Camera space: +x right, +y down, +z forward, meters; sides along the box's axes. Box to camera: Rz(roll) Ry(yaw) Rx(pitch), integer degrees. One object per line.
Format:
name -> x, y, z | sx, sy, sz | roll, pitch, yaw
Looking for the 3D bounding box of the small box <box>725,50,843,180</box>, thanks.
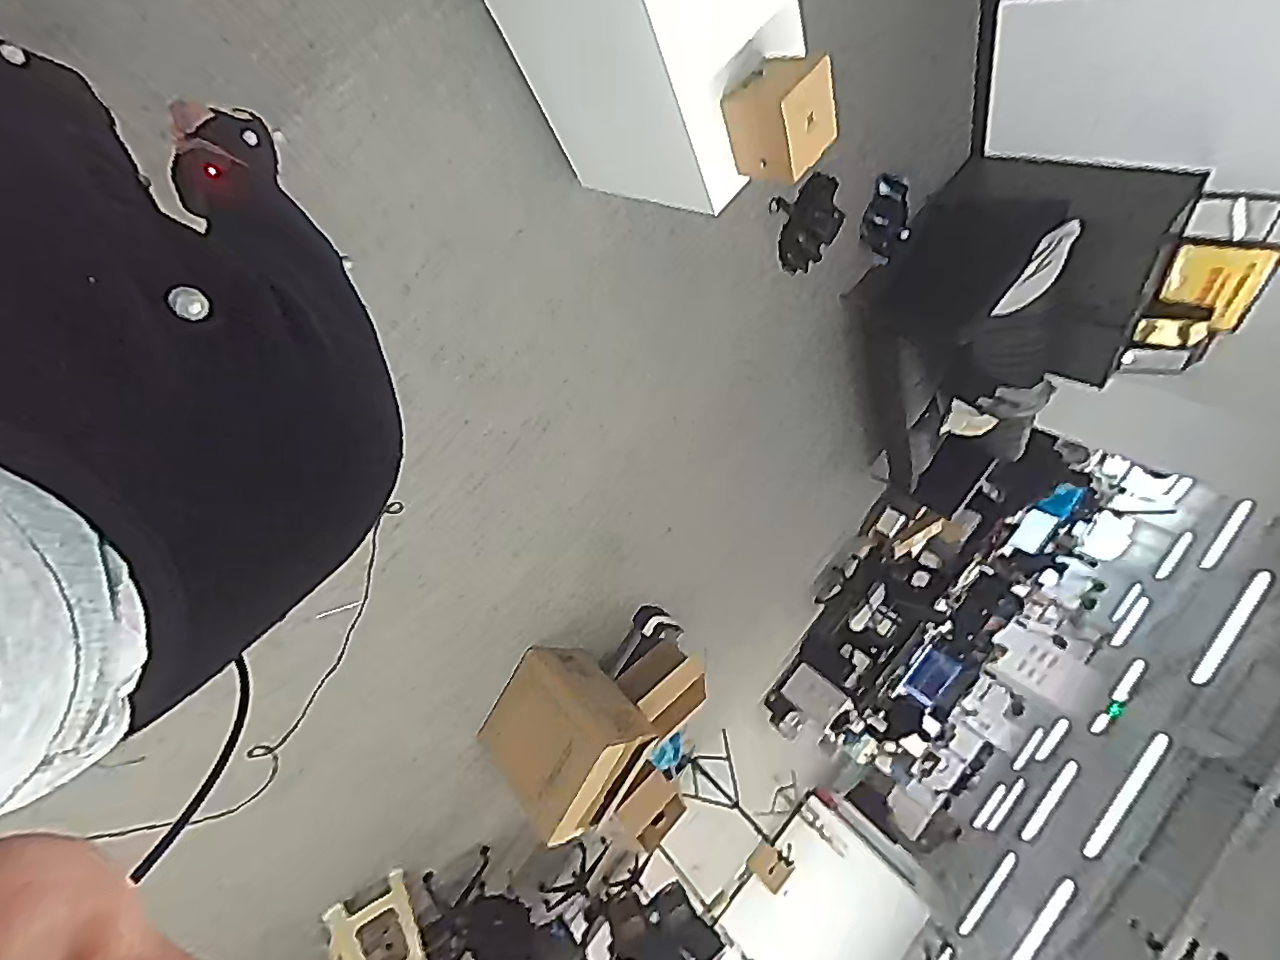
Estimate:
small box -> 0.316, -0.799, 1.187 | 0.168, 0.176, 0.179 | -50, 140, -9
